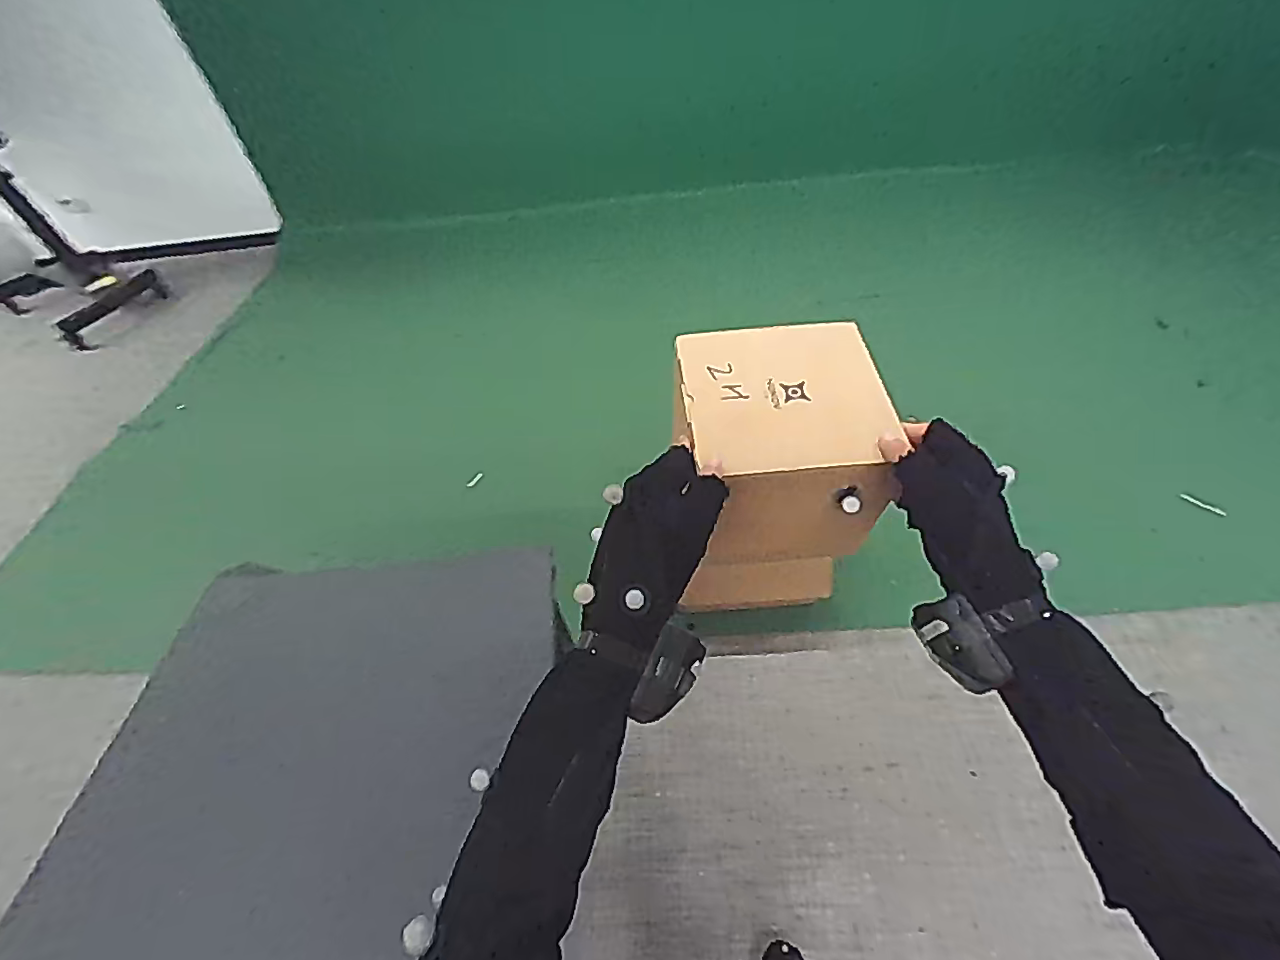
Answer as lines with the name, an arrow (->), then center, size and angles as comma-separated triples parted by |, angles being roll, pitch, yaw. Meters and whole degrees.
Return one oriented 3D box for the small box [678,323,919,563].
small box -> 0.133, -0.030, 0.533 | 0.179, 0.176, 0.168 | -5, 56, 0
